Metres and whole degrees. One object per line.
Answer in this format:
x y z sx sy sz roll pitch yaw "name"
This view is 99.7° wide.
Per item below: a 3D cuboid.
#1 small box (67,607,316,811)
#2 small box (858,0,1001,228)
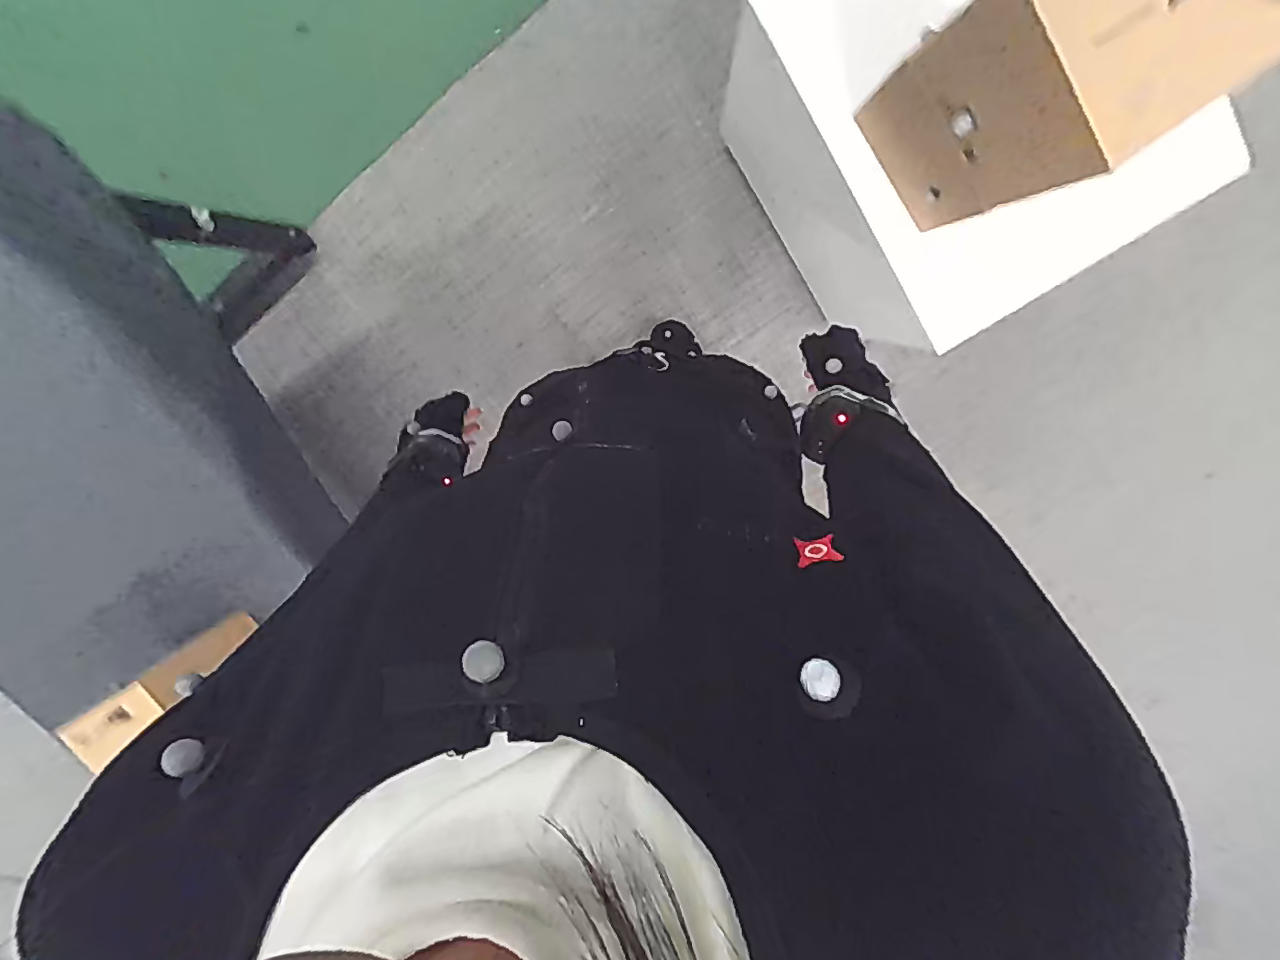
-0.614 0.316 0.767 0.168 0.176 0.179 -29 104 14 "small box"
0.368 -0.396 0.580 0.168 0.176 0.179 -36 100 14 "small box"
